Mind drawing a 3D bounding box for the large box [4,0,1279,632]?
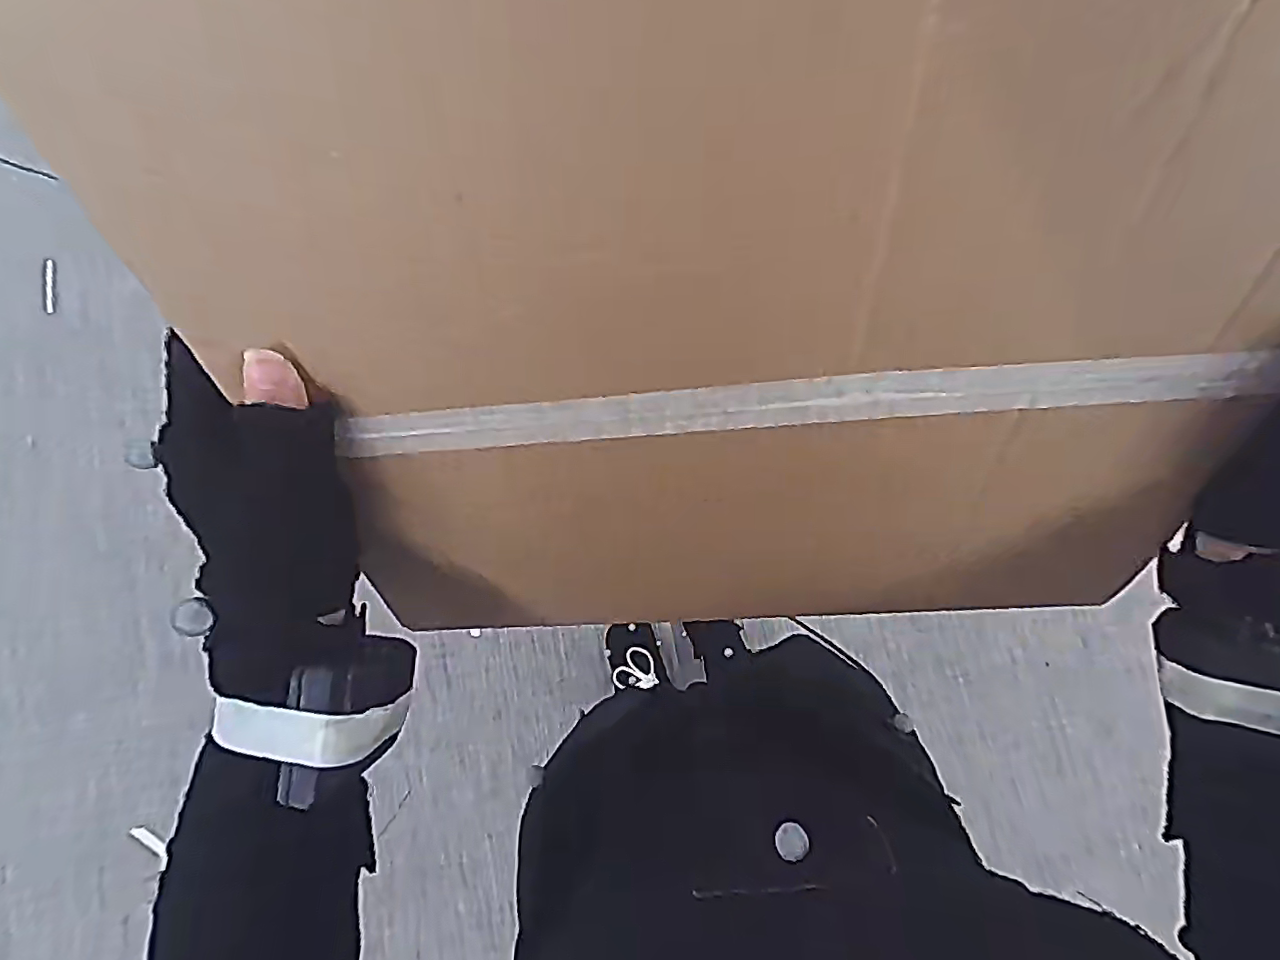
[{"bbox_3d":[0.047,-0.131,0.329,0.408,0.320,0.320,-4,44,4],"label":"large box"}]
